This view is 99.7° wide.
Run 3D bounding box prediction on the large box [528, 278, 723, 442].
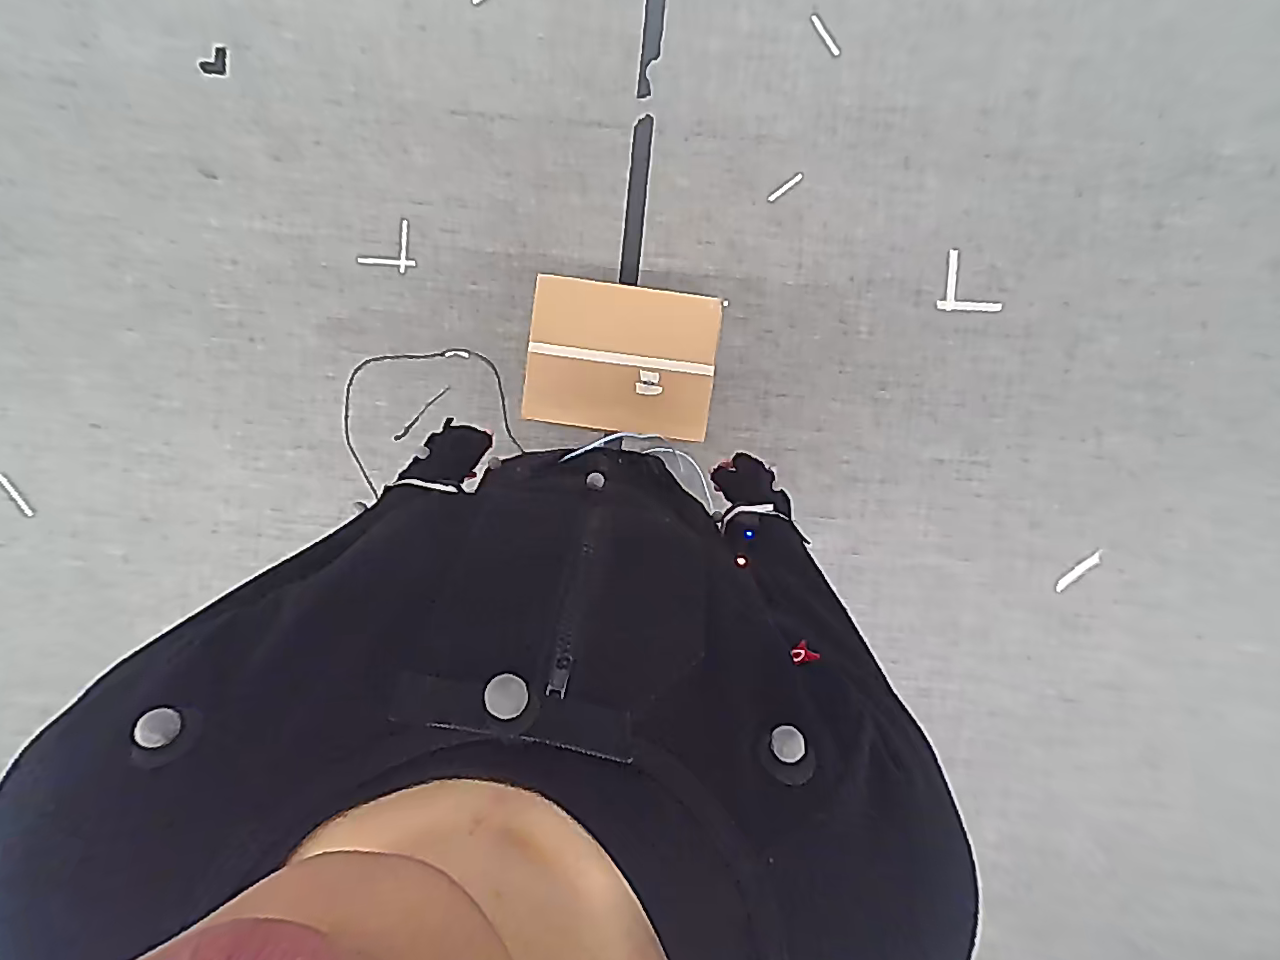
[{"bbox_3d":[-0.037,-0.271,1.326,0.408,0.320,0.320,8,94,-1],"label":"large box"}]
